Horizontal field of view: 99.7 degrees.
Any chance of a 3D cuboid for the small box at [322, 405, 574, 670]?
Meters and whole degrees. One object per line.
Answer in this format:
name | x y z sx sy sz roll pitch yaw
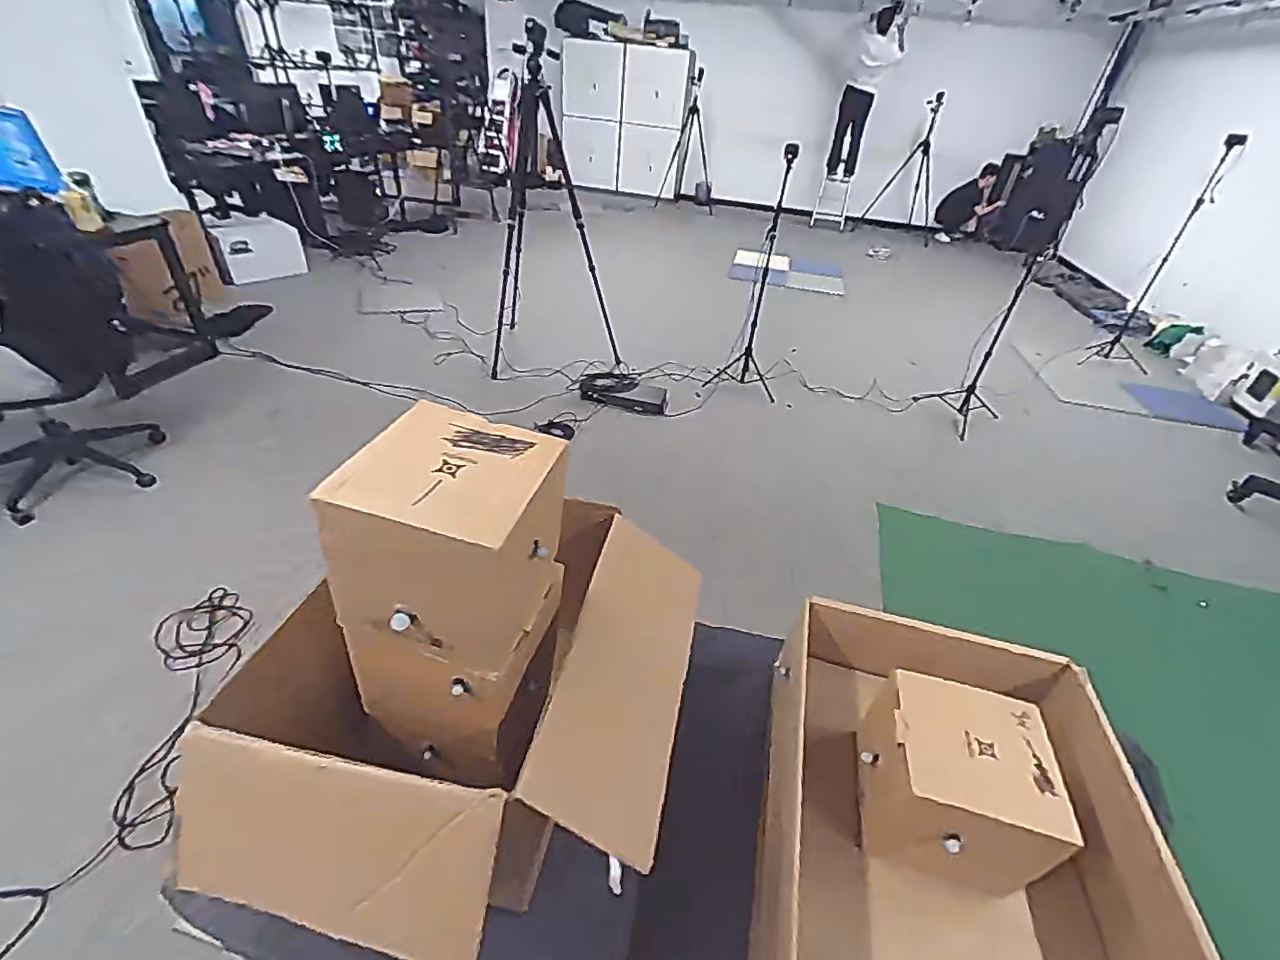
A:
small box | -0.178 0.053 0.544 0.168 0.176 0.179 15 36 4
